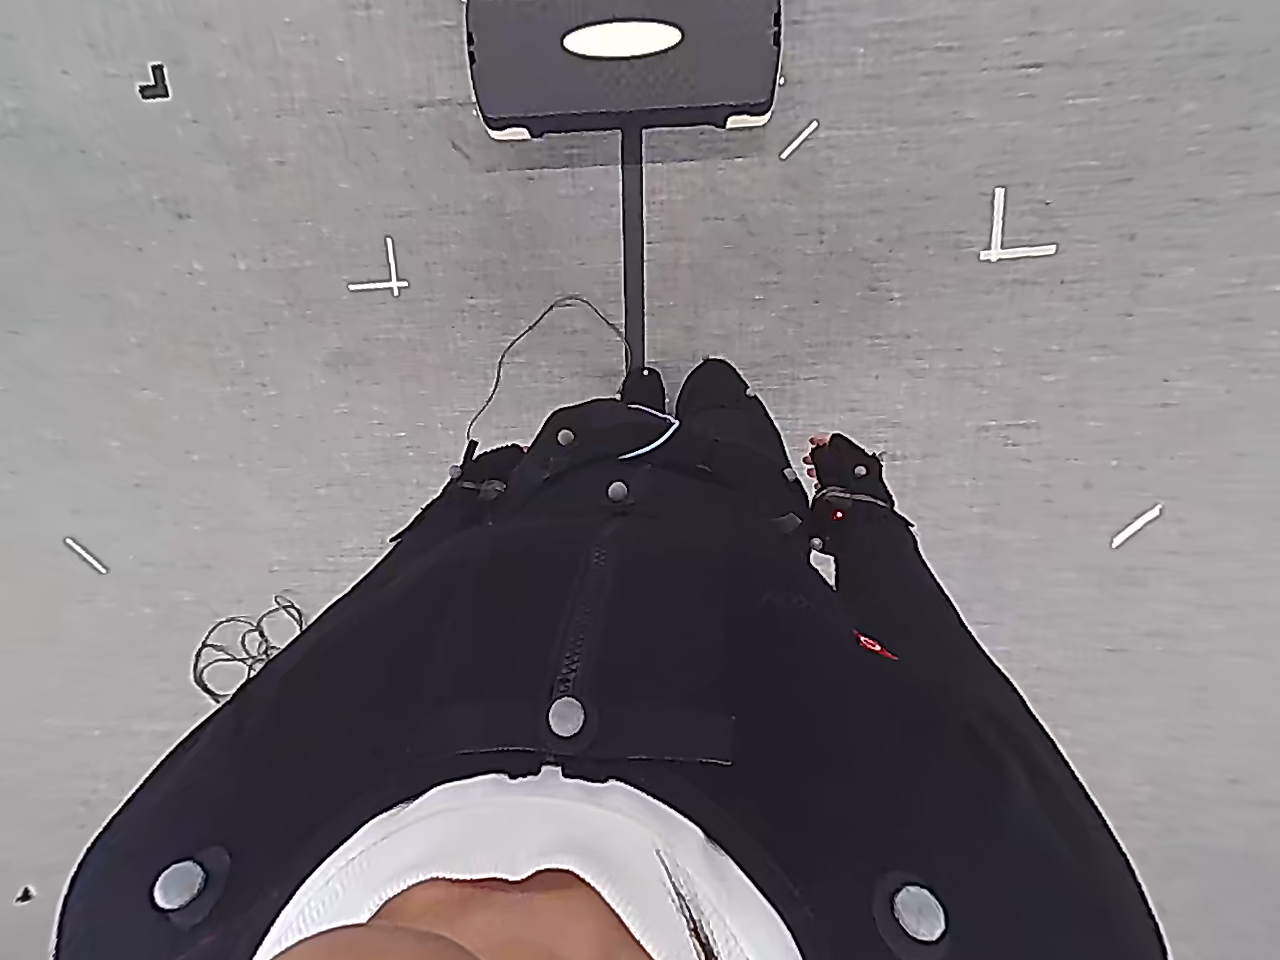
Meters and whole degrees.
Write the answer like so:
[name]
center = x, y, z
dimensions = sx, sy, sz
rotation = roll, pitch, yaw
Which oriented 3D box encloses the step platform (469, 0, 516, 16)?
[step platform]
center = -0.065, -1.174, 1.084
dimensions = 0.684, 0.204, 0.286
rotation = -3, 104, 2
